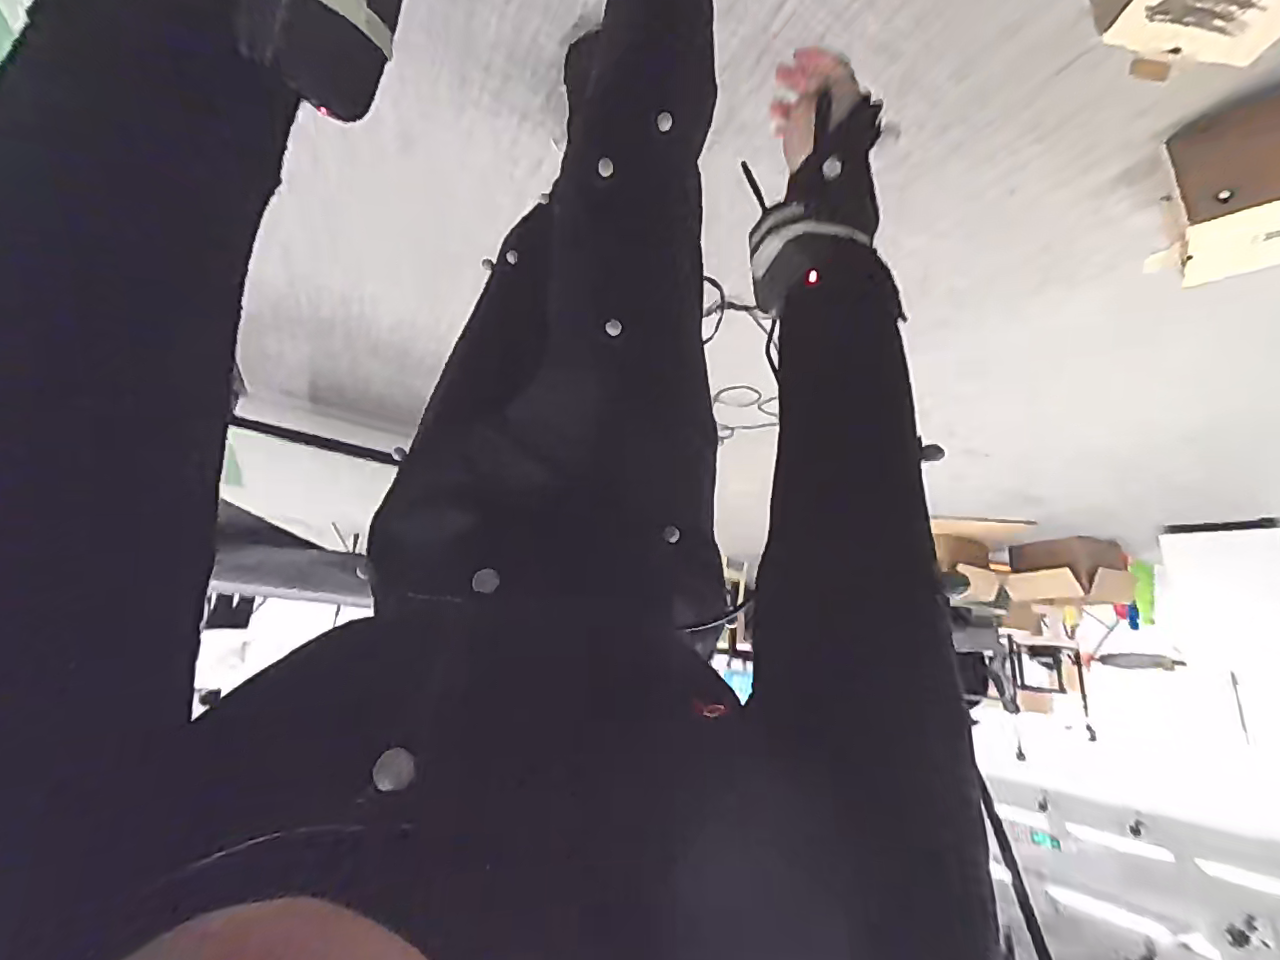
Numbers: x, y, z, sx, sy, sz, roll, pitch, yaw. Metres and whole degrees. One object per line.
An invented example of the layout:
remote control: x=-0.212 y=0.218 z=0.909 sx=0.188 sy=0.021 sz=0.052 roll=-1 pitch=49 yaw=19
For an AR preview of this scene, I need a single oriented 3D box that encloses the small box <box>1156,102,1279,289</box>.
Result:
small box: x=0.905 y=-0.423 z=0.800 sx=0.179 sy=0.176 sz=0.168 roll=-10 pitch=157 yaw=39
